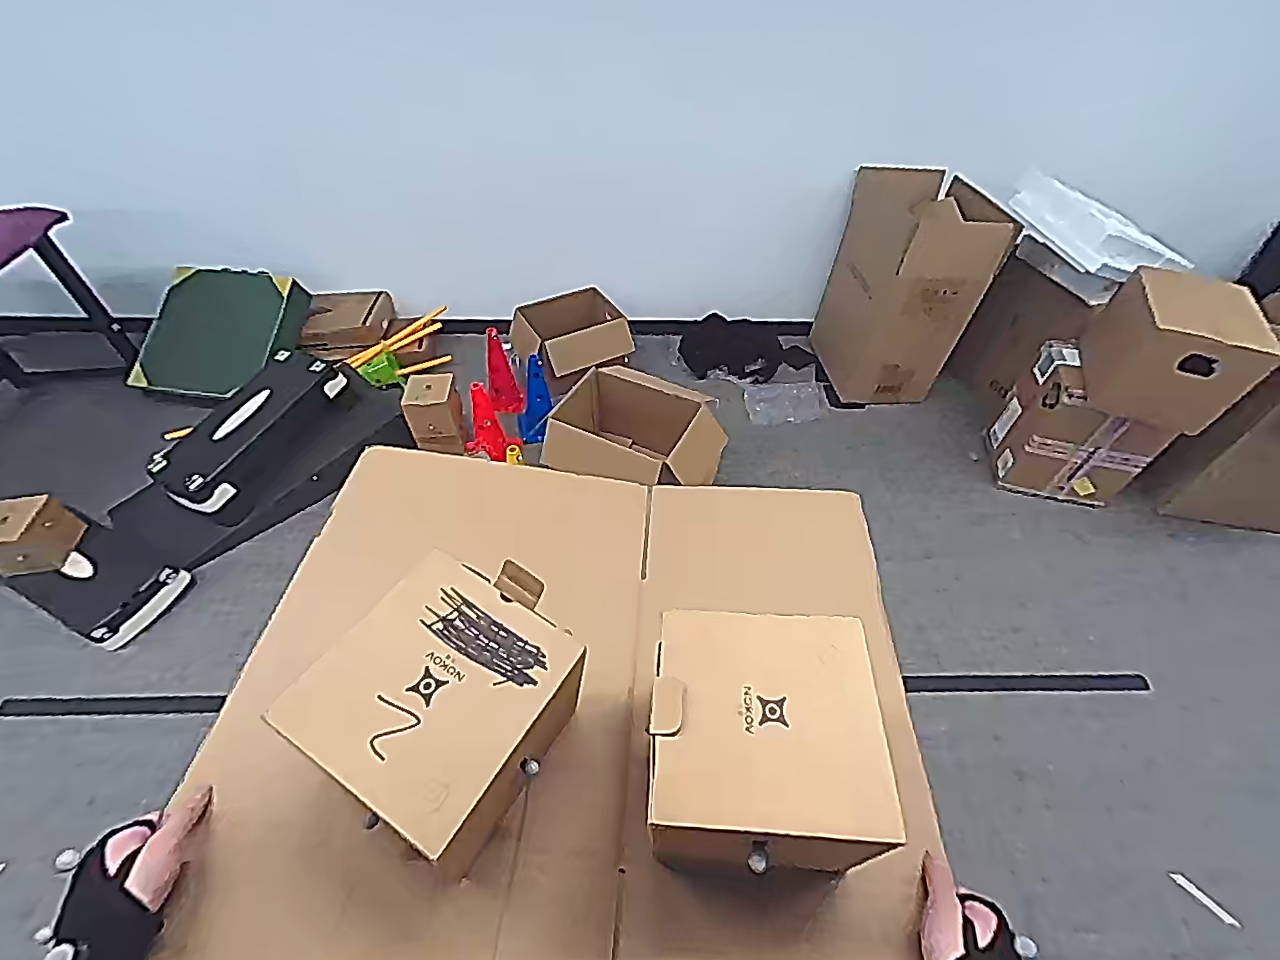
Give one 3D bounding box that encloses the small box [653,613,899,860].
[{"bbox_3d":[0.106,0.237,0.495,0.179,0.176,0.168,0,49,6],"label":"small box"}]
